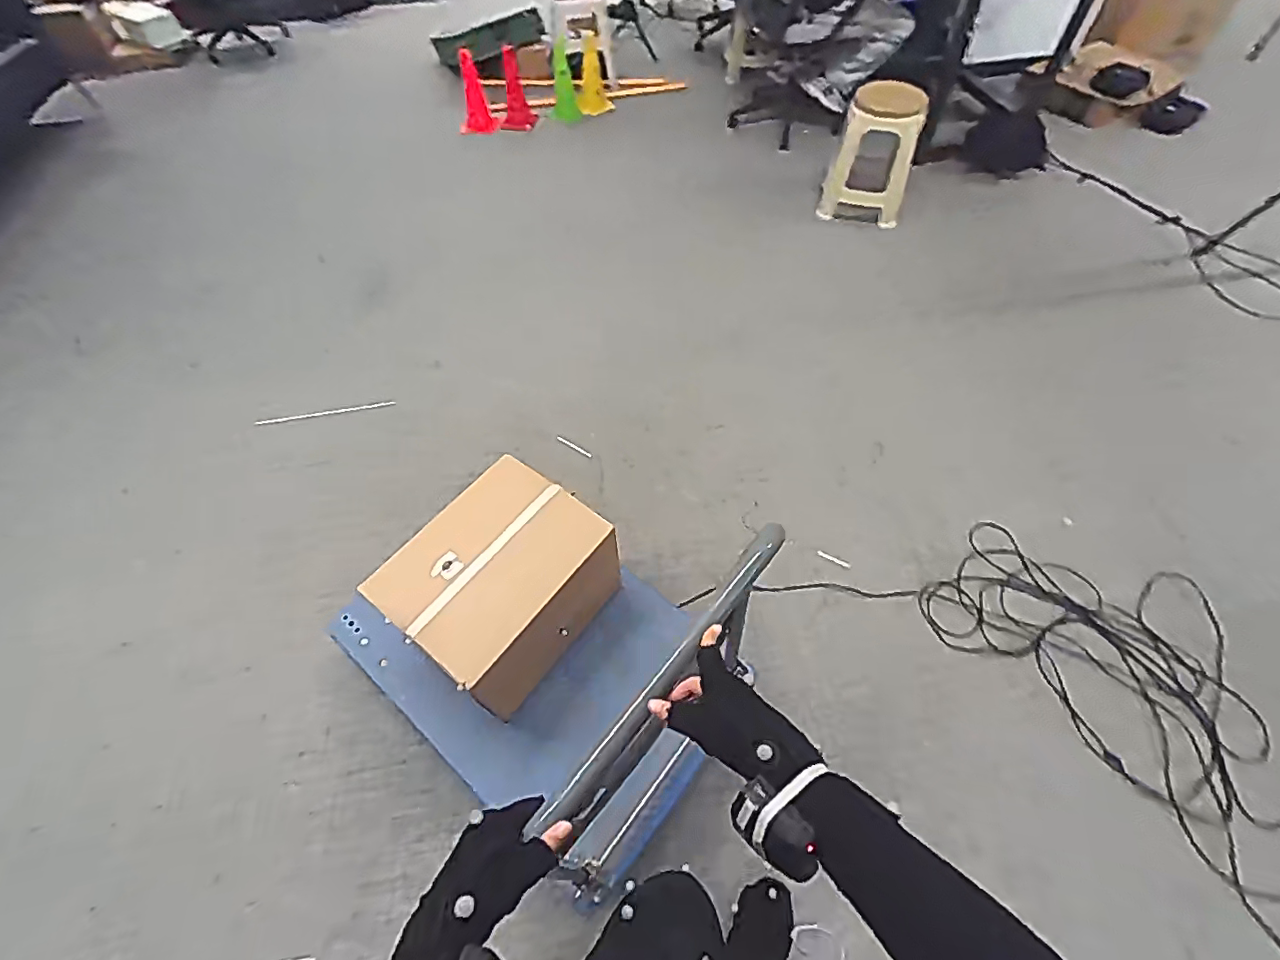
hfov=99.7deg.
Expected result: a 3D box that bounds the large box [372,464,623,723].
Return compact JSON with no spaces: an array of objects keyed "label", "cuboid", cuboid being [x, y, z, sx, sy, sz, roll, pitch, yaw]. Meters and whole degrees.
[{"label":"large box","cuboid":[-0.275,0.249,1.193,0.320,0.320,0.408,31,63,21]}]
